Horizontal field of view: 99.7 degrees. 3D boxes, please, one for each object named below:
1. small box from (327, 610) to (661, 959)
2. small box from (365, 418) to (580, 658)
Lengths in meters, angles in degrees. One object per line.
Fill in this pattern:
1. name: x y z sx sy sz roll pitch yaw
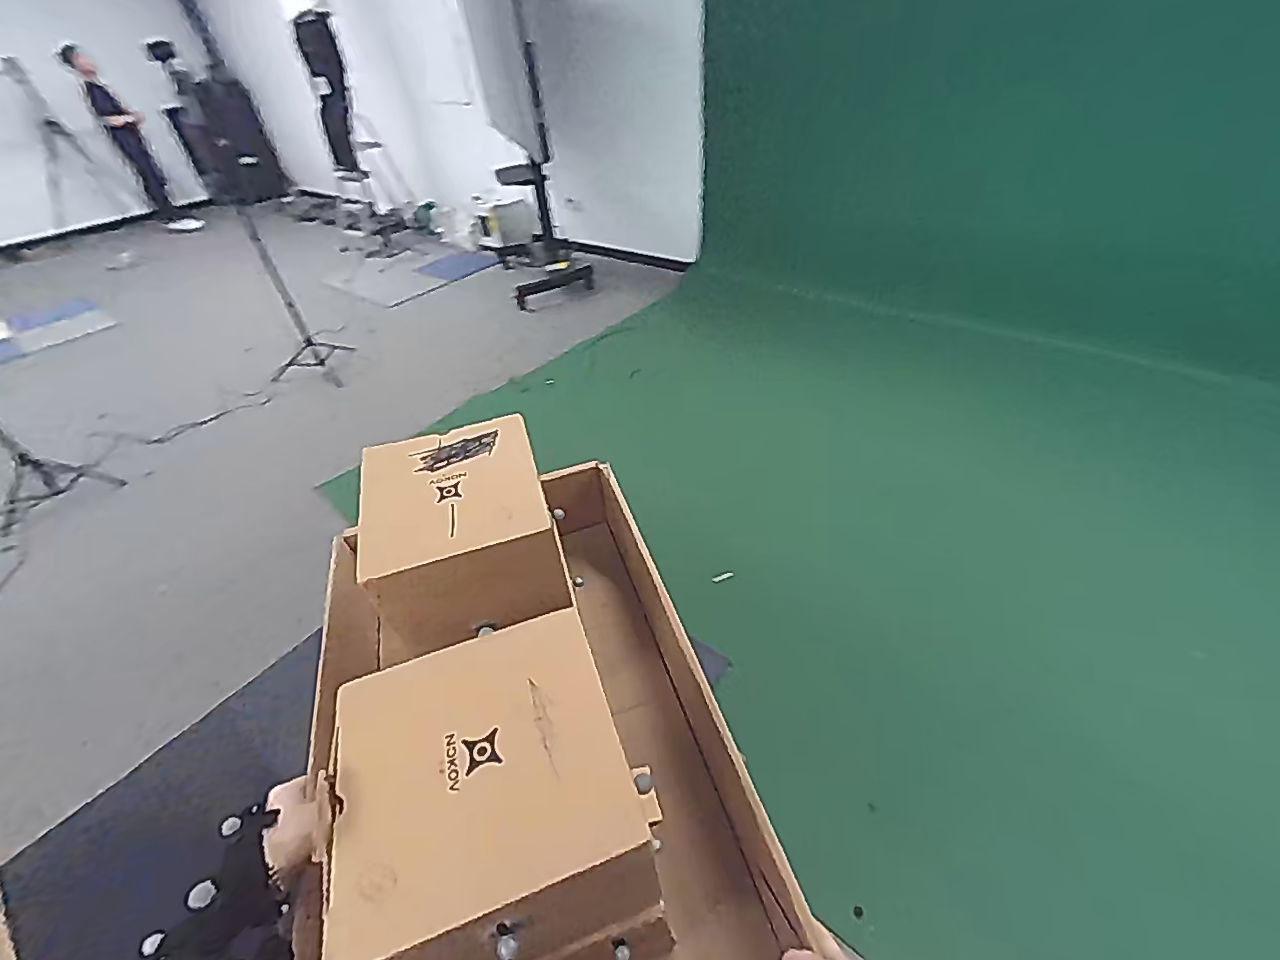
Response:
1. small box: -0.093 0.231 0.392 0.179 0.176 0.168 -16 45 -12
2. small box: -0.167 0.065 0.568 0.168 0.176 0.179 -15 46 -10
